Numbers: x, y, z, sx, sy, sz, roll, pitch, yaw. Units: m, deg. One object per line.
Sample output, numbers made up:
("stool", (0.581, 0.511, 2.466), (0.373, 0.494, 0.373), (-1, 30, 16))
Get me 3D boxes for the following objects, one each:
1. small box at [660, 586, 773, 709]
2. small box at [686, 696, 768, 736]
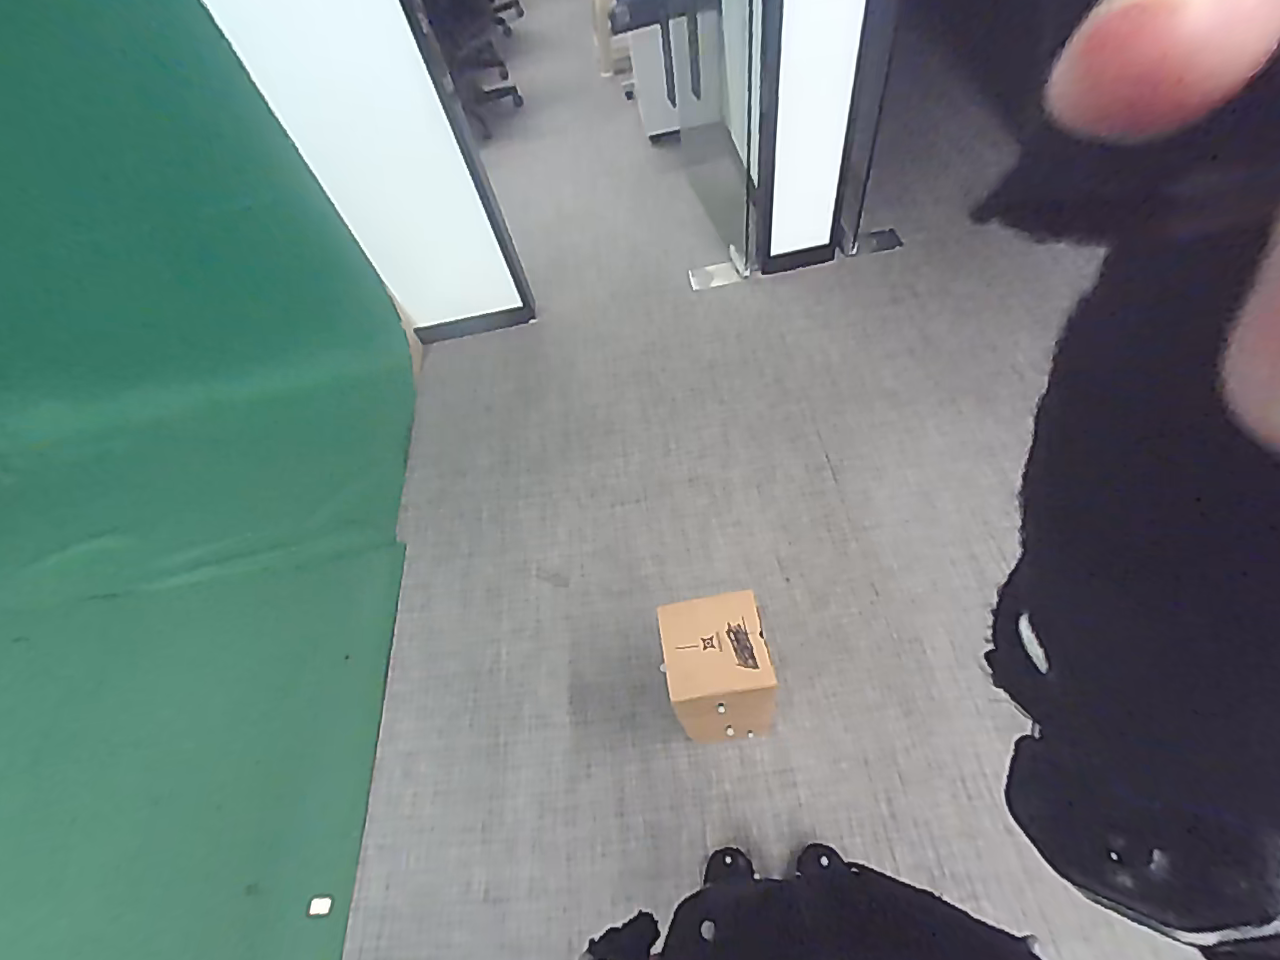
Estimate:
("small box", (0.135, 0.309, 0.983), (0.179, 0.176, 0.168), (-8, 54, 5))
("small box", (0.192, 0.487, 1.257), (0.179, 0.176, 0.168), (-12, 55, 5))
